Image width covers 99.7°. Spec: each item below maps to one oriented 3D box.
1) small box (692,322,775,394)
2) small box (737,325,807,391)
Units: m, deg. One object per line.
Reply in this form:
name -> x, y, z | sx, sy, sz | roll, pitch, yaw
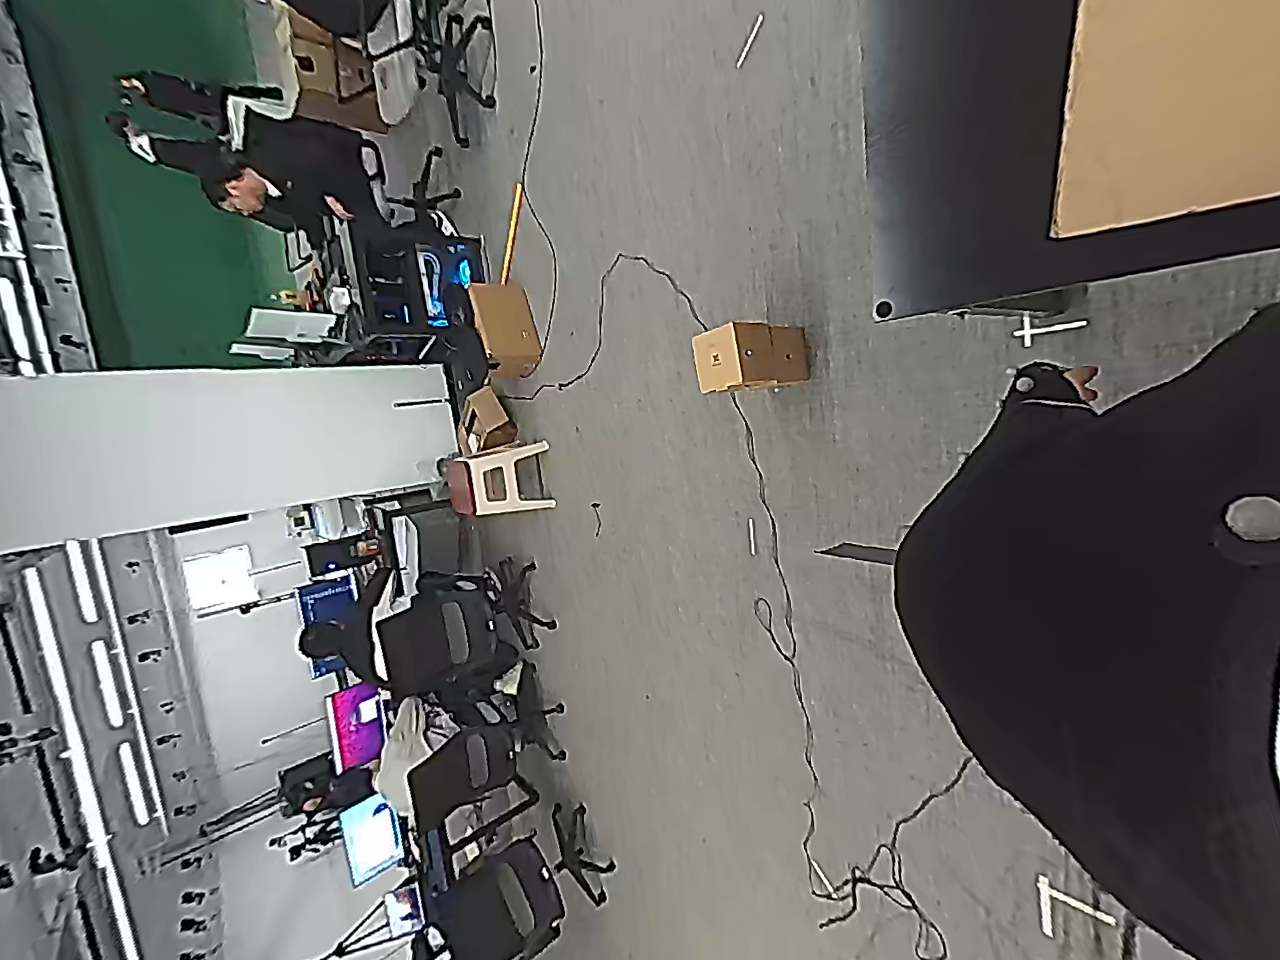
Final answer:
small box -> 0.284, -0.364, 1.616 | 0.168, 0.176, 0.179 | -8, 93, 51
small box -> 0.410, -0.385, 1.717 | 0.168, 0.176, 0.179 | -2, 98, 51
